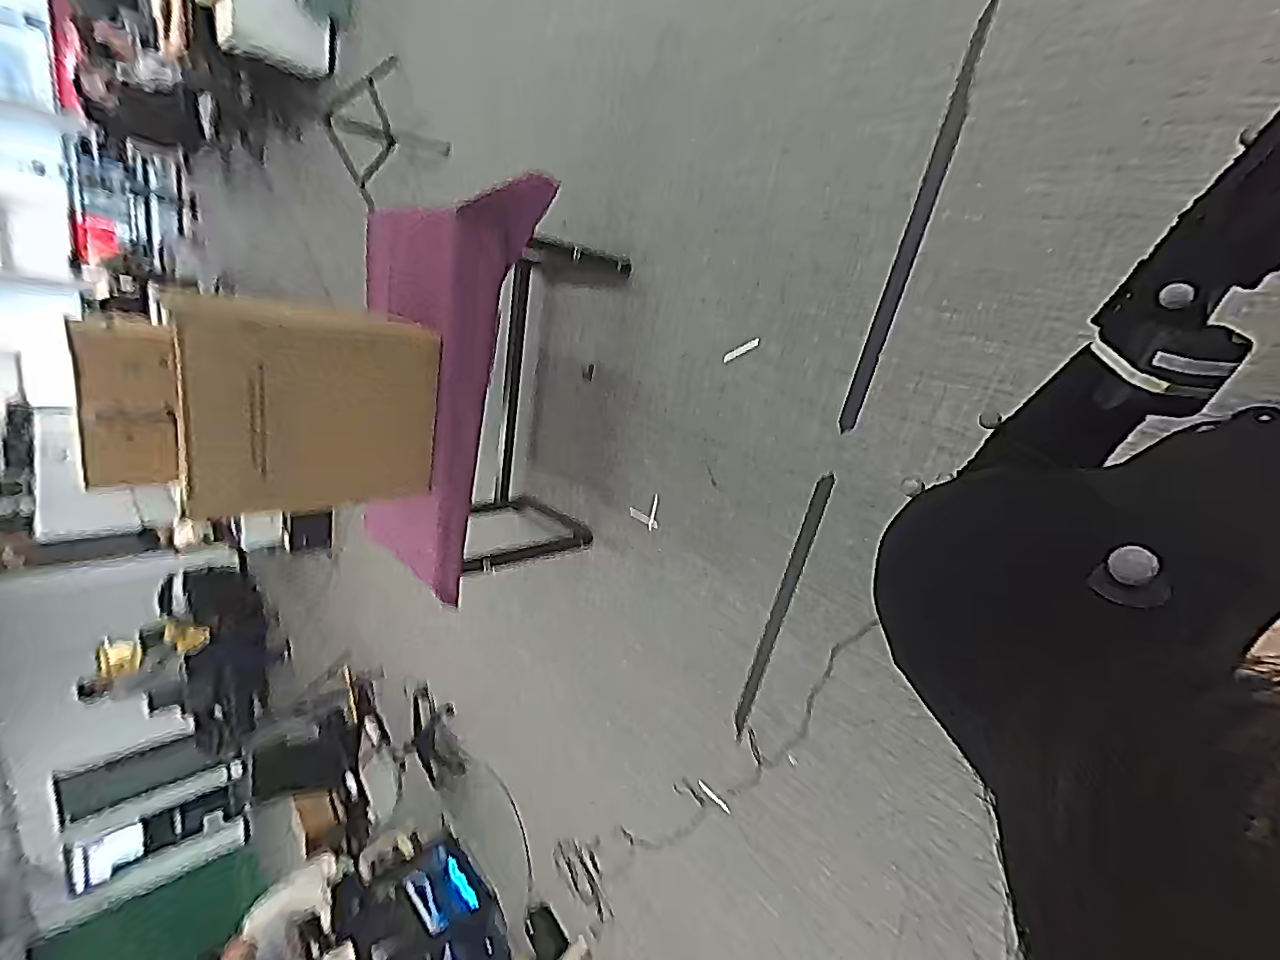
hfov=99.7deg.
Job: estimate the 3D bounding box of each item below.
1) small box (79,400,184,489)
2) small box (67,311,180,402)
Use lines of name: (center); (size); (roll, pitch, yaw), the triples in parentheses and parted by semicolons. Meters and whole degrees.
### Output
small box: (-1.249, -0.093, 1.332); (0.168, 0.176, 0.179); (26, 113, 40)
small box: (-1.171, -0.280, 1.234); (0.179, 0.176, 0.168); (27, 114, 39)
